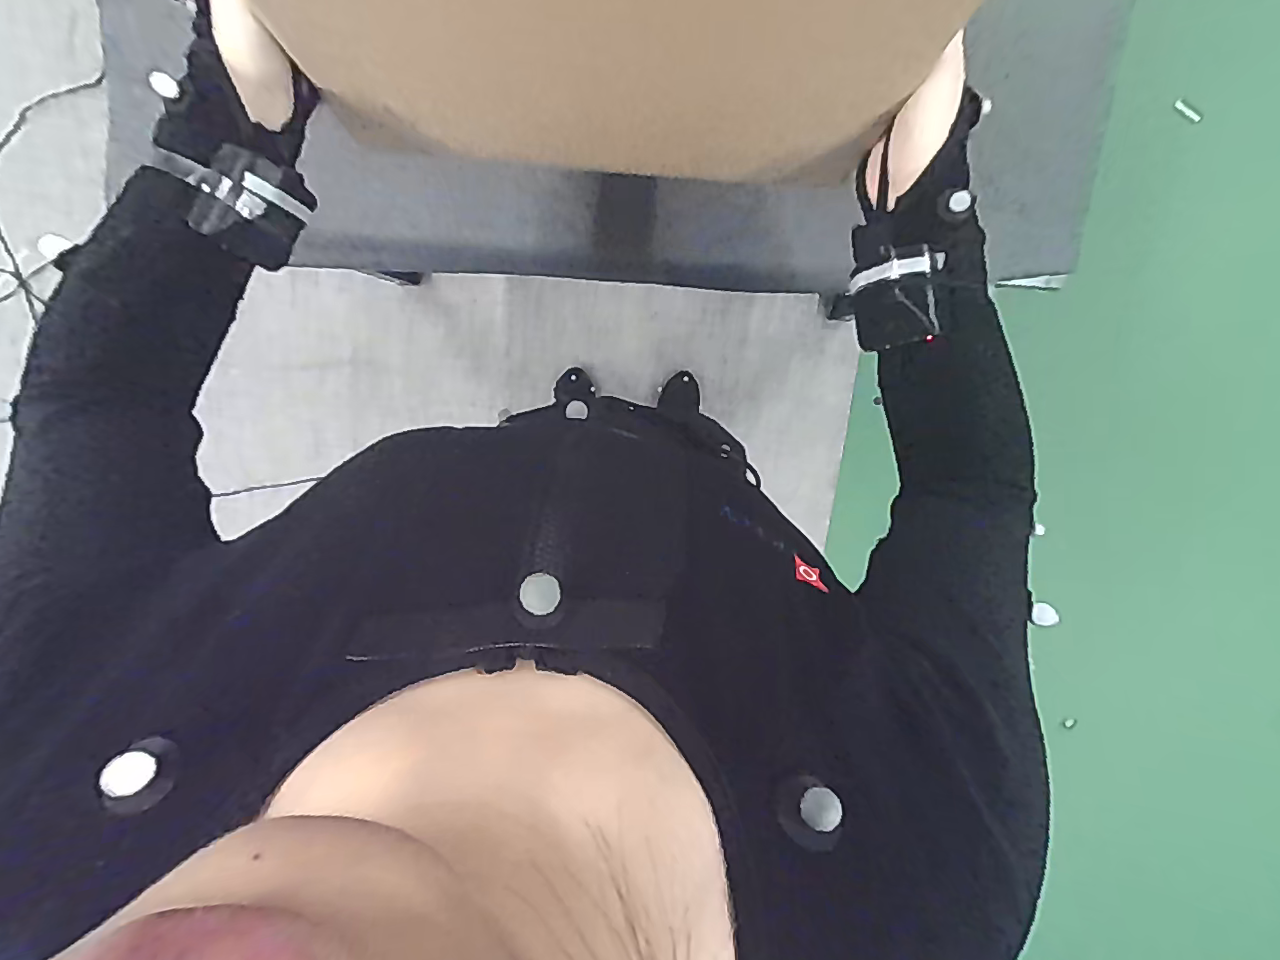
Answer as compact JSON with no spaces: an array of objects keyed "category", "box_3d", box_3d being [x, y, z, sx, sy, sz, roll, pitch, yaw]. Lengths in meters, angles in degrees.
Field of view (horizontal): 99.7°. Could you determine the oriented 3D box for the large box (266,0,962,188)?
[{"category":"large box","box_3d":[-0.015,-0.416,0.325,0.408,0.320,0.320,3,89,-3]}]
